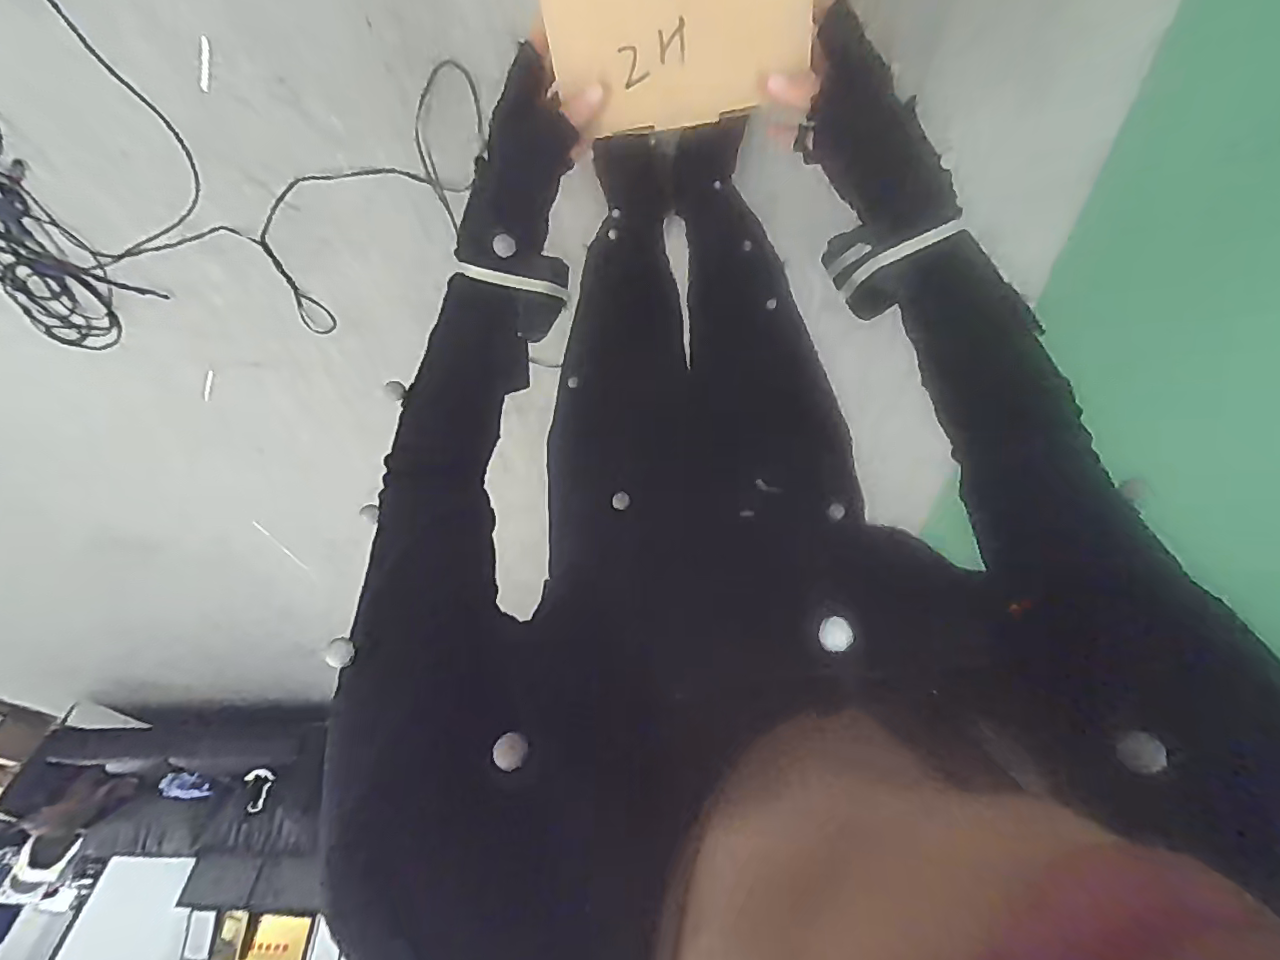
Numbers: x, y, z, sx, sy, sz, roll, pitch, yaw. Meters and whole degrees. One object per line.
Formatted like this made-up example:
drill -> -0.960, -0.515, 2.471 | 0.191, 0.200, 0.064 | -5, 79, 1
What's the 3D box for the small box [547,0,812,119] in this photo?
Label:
small box -> 0.019, -0.374, 0.373 | 0.168, 0.176, 0.179 | -6, 130, 6
